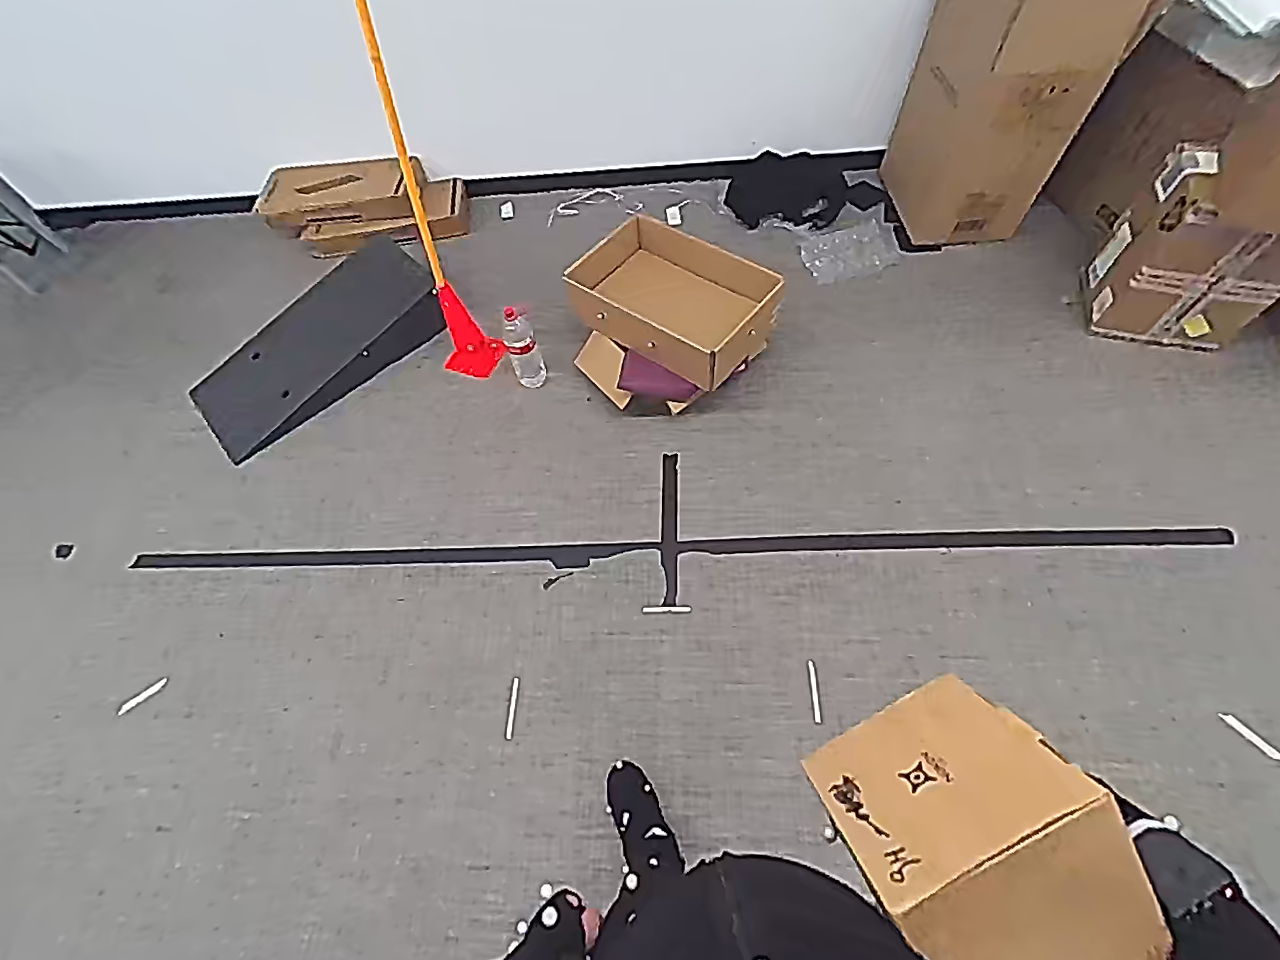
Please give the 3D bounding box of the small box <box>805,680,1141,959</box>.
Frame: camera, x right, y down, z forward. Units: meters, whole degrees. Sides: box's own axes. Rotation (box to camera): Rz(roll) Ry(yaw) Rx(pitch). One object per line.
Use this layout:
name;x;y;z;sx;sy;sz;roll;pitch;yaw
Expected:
small box;0.284;0.323;0.478;0.179;0.168;0.176;-29;99;-1
